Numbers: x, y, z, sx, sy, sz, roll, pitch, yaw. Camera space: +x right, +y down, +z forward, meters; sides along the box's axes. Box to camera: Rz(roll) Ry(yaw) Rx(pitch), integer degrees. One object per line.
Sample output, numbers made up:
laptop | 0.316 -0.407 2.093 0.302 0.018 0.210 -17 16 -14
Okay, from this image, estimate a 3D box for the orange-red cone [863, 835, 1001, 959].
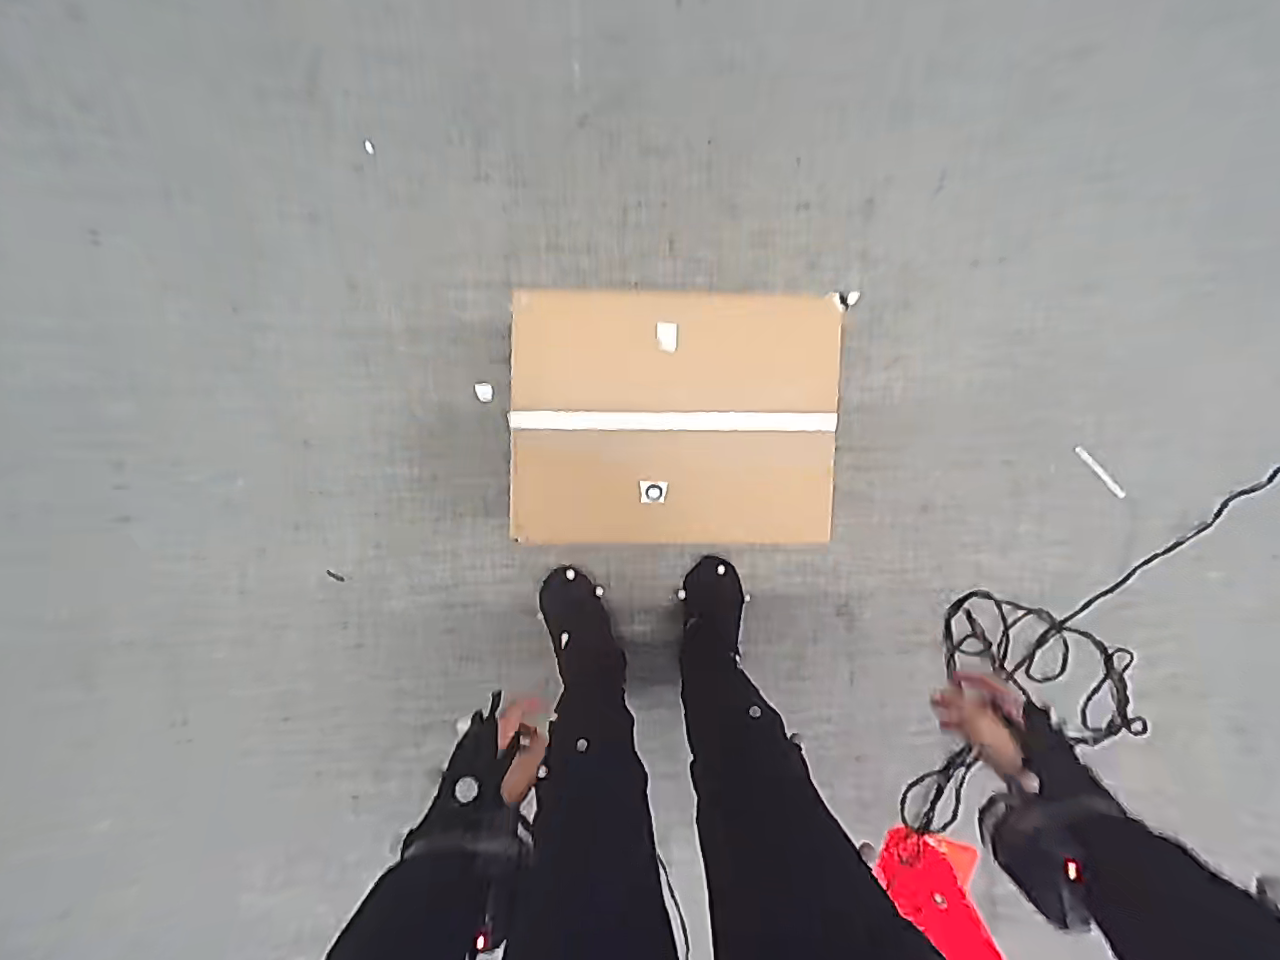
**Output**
orange-red cone | 0.570 0.826 0.902 0.199 0.360 0.198 19 95 -6
